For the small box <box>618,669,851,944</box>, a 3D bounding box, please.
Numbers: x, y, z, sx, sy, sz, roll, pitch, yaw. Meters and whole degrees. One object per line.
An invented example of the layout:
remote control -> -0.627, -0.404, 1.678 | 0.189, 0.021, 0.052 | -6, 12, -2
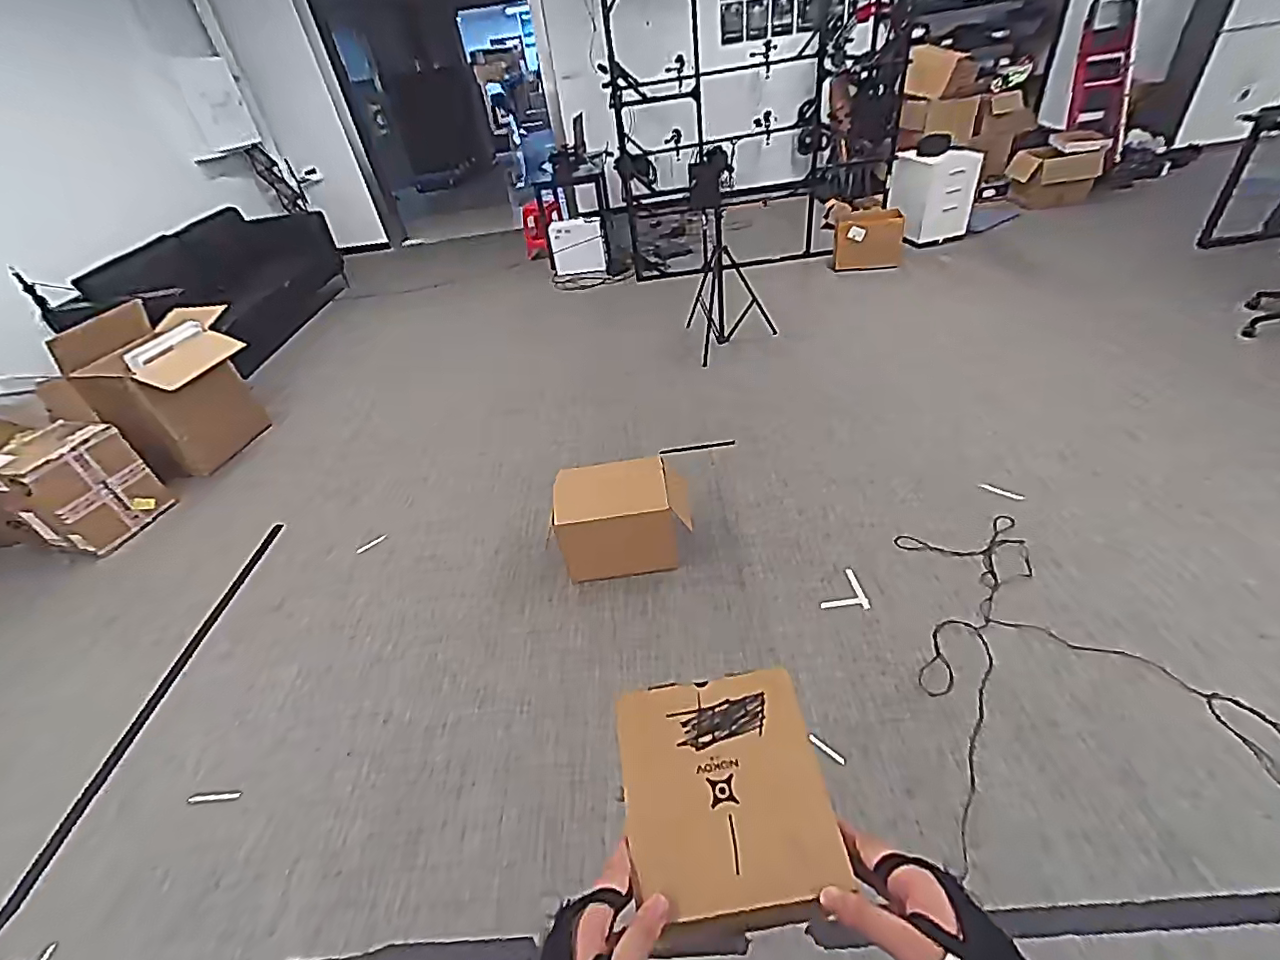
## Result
small box -> 0.074, 0.308, 0.512 | 0.168, 0.176, 0.179 | -9, 46, -1
